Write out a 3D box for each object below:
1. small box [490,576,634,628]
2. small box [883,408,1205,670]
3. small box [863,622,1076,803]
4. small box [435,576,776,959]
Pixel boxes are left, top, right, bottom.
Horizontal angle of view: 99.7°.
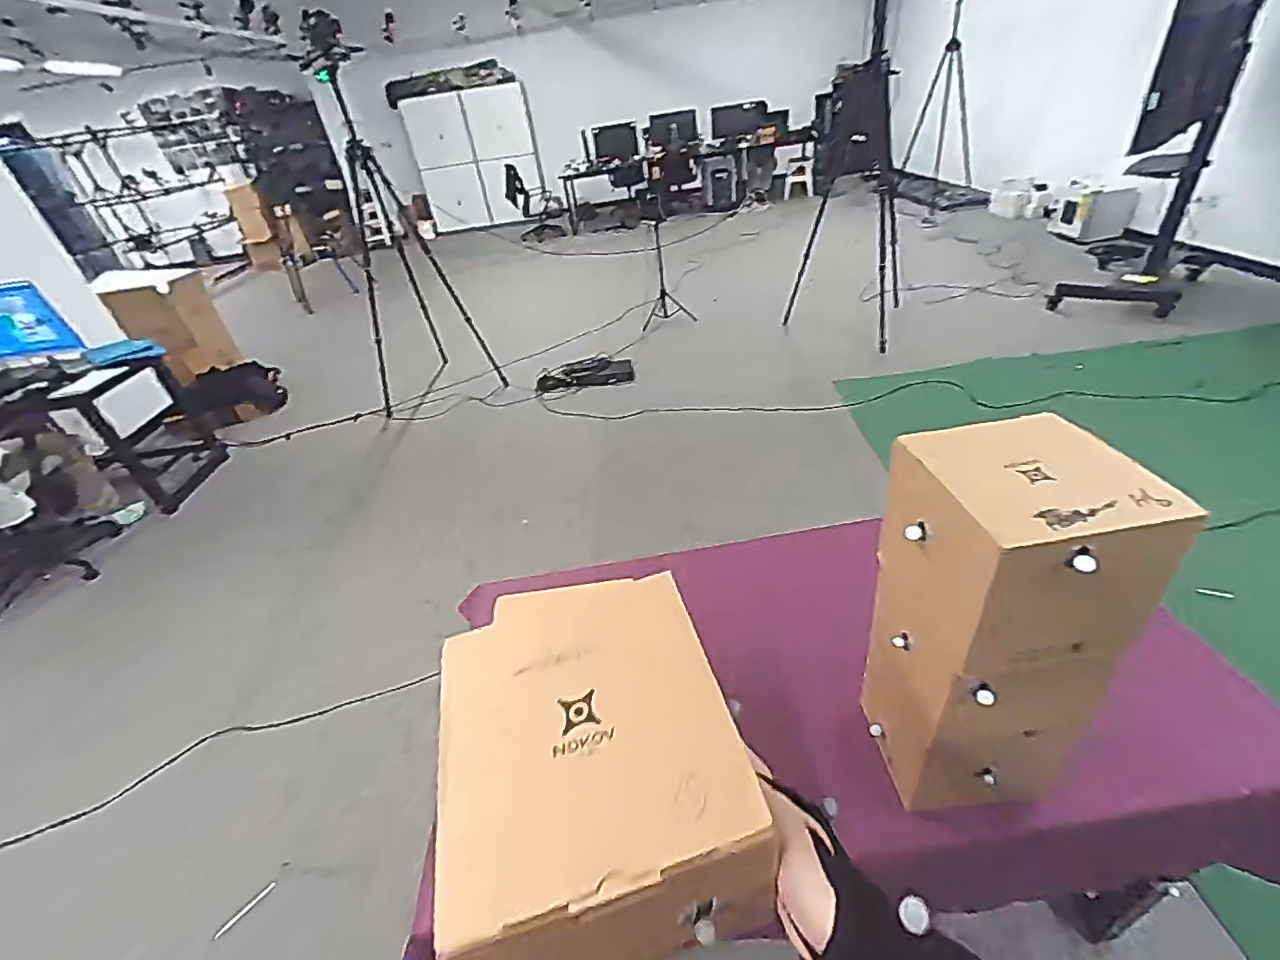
[{"bbox_3d":[-0.078,0.243,0.654,0.179,0.176,0.168,-9,36,3],"label":"small box"},{"bbox_3d":[0.357,0.053,0.527,0.168,0.176,0.179,-11,34,0],"label":"small box"},{"bbox_3d":[0.420,0.307,0.729,0.179,0.176,0.168,-9,35,3],"label":"small box"},{"bbox_3d":[-0.021,0.200,0.358,0.168,0.176,0.179,-15,39,-6],"label":"small box"}]
